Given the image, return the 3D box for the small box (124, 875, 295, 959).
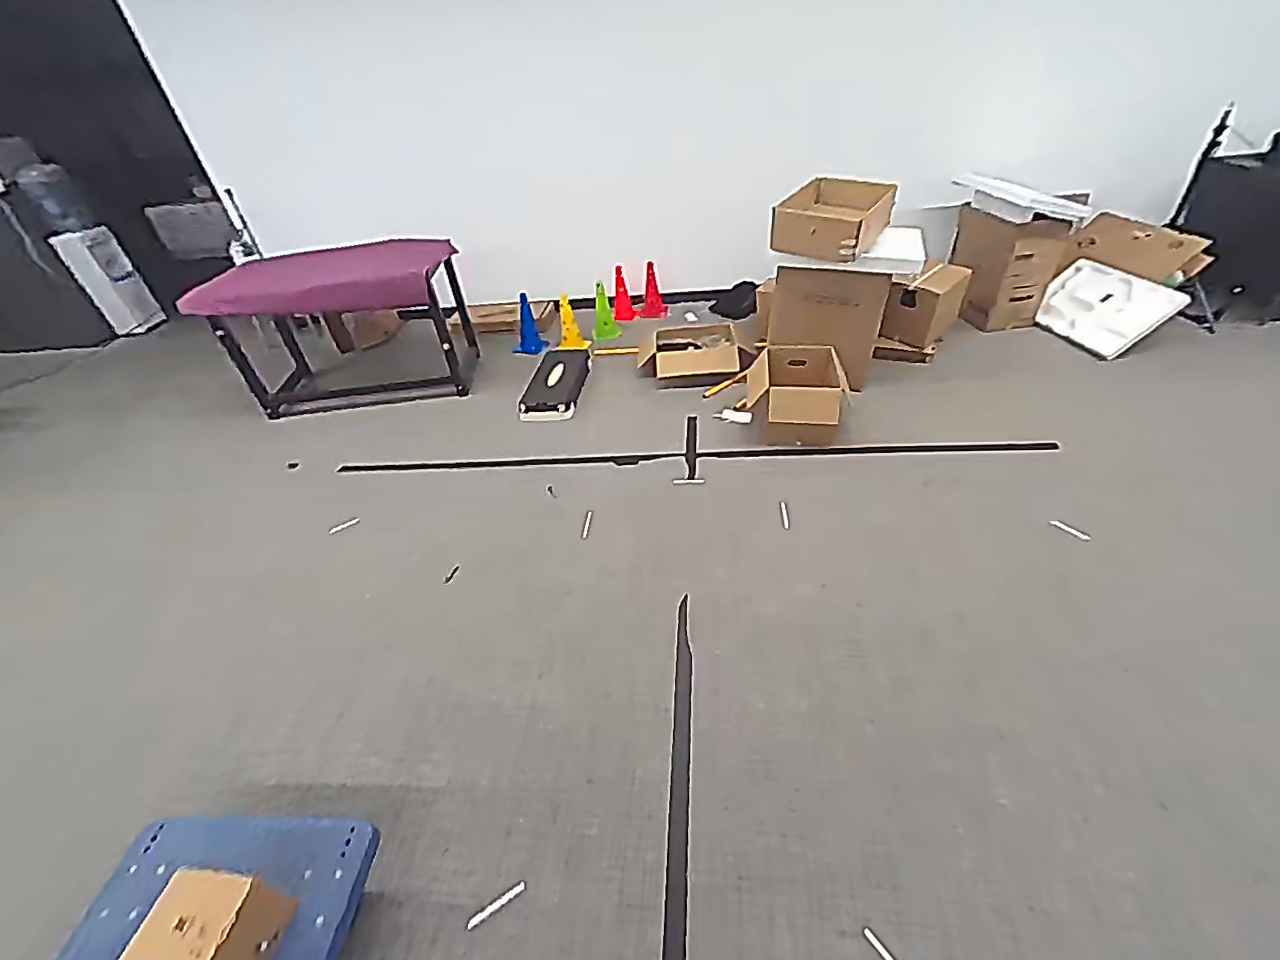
[{"bbox_3d":[-0.810,0.878,1.021,0.179,0.176,0.168,0,40,8],"label":"small box"}]
